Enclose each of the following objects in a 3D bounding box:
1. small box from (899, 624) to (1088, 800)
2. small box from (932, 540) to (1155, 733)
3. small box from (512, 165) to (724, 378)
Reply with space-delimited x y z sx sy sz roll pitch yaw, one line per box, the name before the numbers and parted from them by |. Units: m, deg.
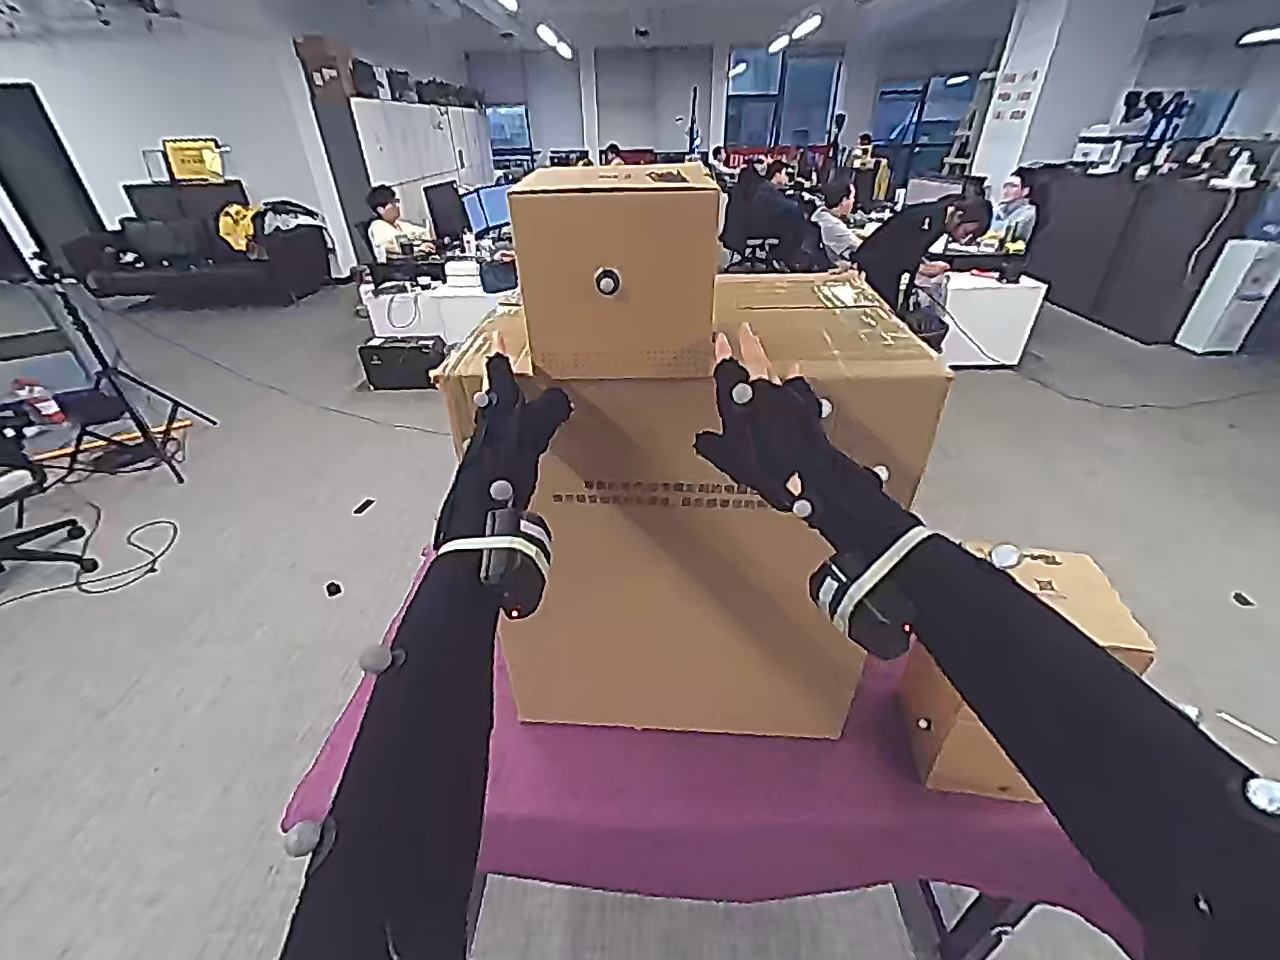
small box | 0.512 0.347 0.816 0.168 0.176 0.179 4 32 8
small box | 0.517 0.208 0.728 0.168 0.176 0.179 7 34 11
small box | -0.015 -0.213 0.550 0.179 0.176 0.168 -2 35 2
